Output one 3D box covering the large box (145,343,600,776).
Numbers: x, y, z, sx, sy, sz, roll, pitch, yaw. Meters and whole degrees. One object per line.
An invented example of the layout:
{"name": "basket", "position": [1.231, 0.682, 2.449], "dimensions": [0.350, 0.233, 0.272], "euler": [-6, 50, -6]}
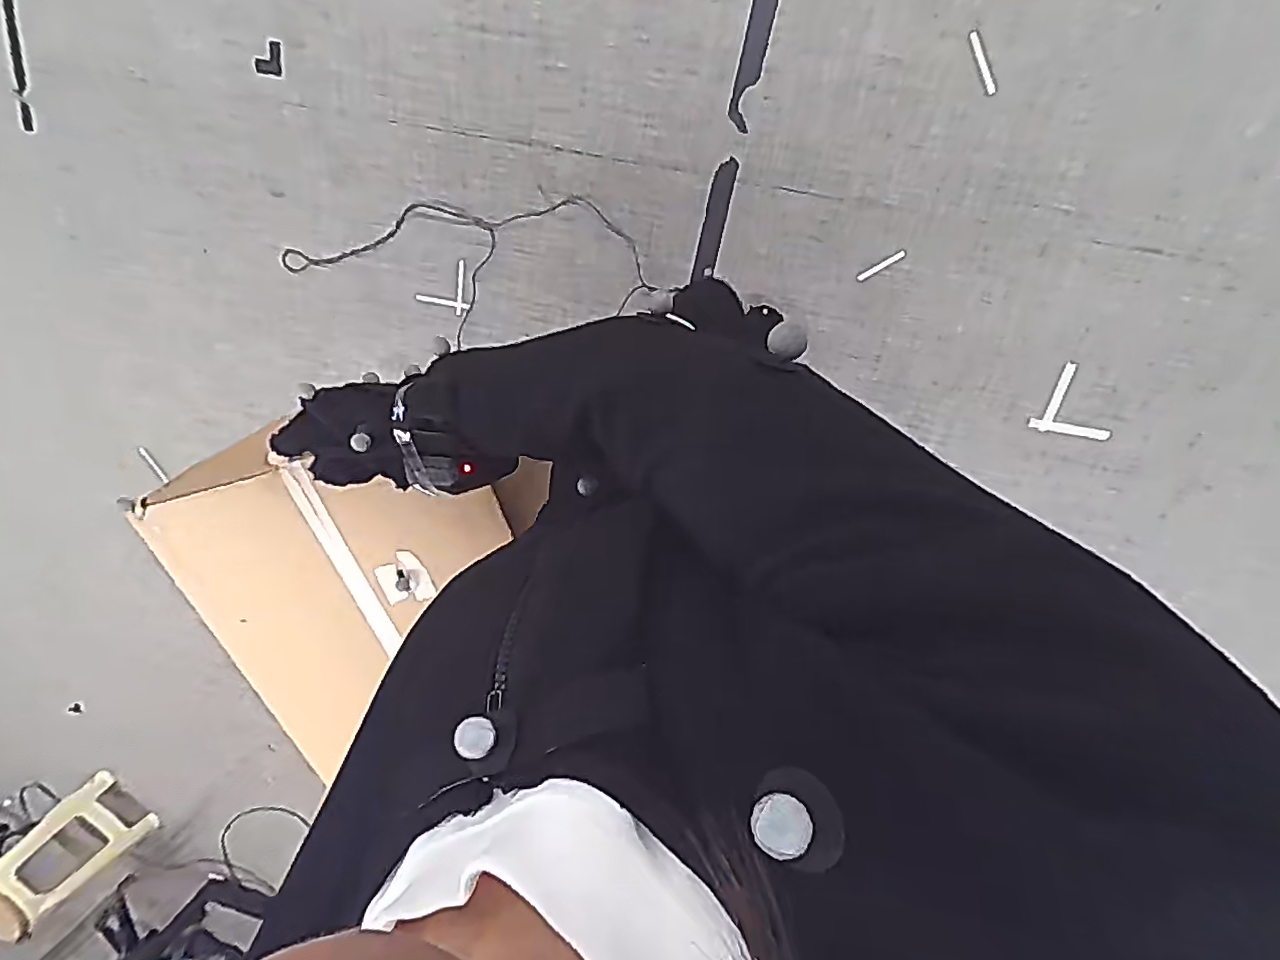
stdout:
{"name": "large box", "position": [-0.256, 0.080, 0.691], "dimensions": [0.320, 0.320, 0.408], "euler": [-16, 113, 2]}
